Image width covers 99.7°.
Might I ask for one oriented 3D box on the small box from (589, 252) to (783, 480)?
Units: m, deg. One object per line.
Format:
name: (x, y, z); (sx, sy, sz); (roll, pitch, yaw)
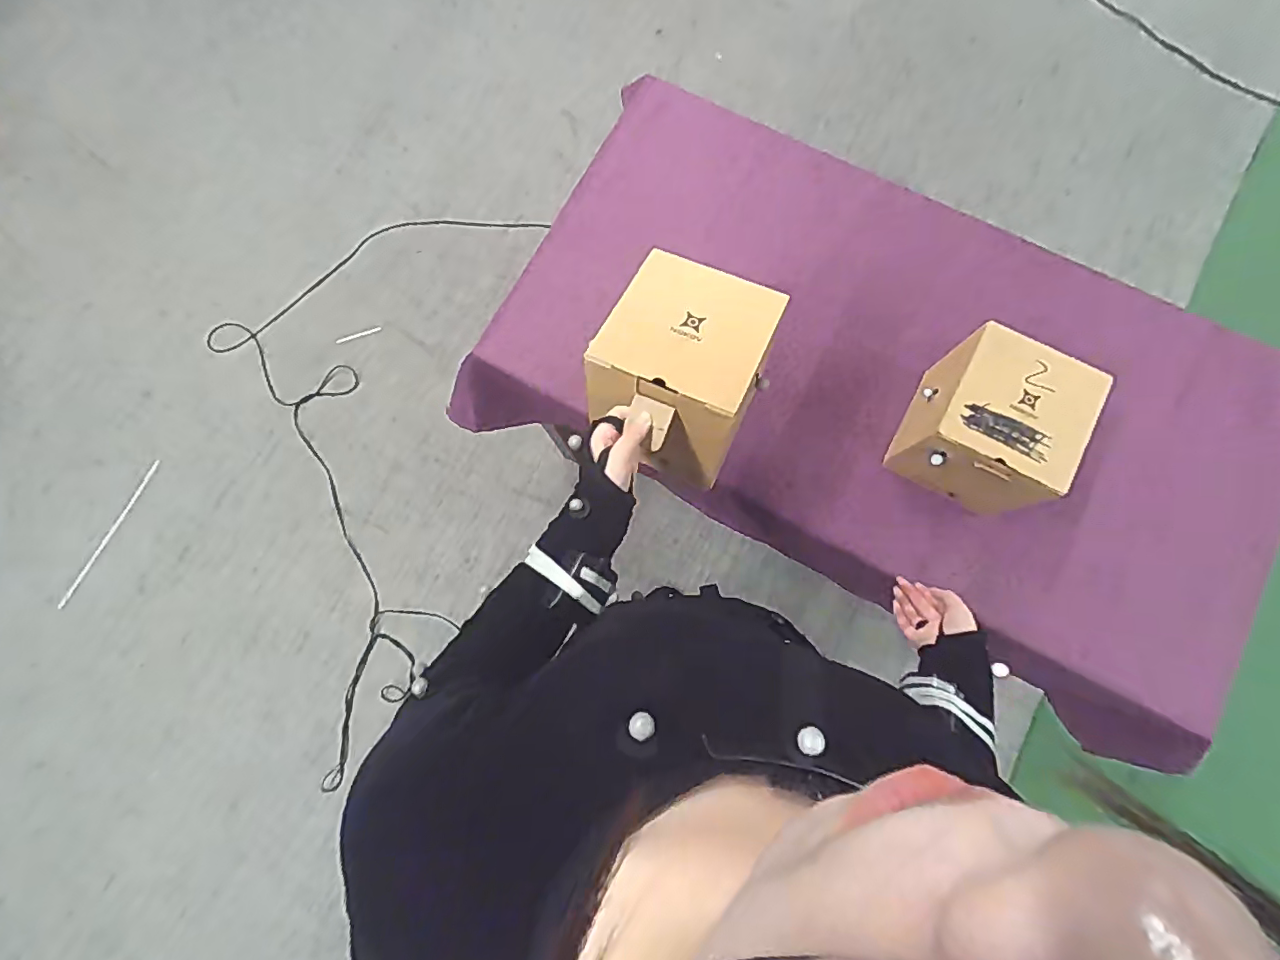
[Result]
small box: (0.050, -0.130, 0.654); (0.168, 0.176, 0.179); (23, 65, 10)
